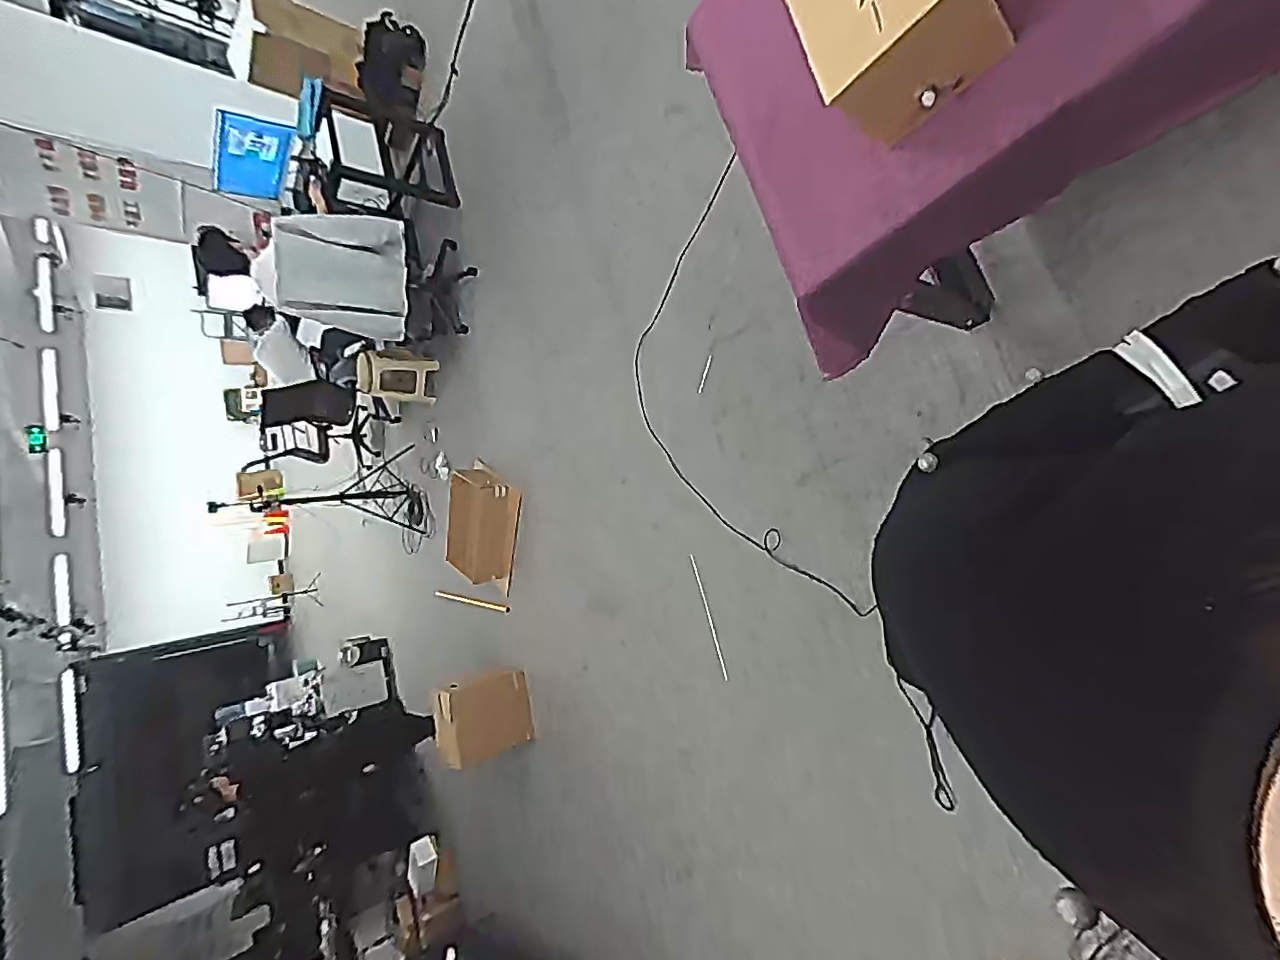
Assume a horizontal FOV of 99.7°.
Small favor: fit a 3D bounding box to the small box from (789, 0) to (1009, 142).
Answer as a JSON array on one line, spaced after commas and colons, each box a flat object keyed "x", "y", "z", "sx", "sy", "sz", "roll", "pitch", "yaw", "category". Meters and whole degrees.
[{"x": 0.315, "y": -0.565, "z": 0.664, "sx": 0.168, "sy": 0.176, "sz": 0.179, "roll": -26, "pitch": 76, "yaw": 47, "category": "small box"}]
